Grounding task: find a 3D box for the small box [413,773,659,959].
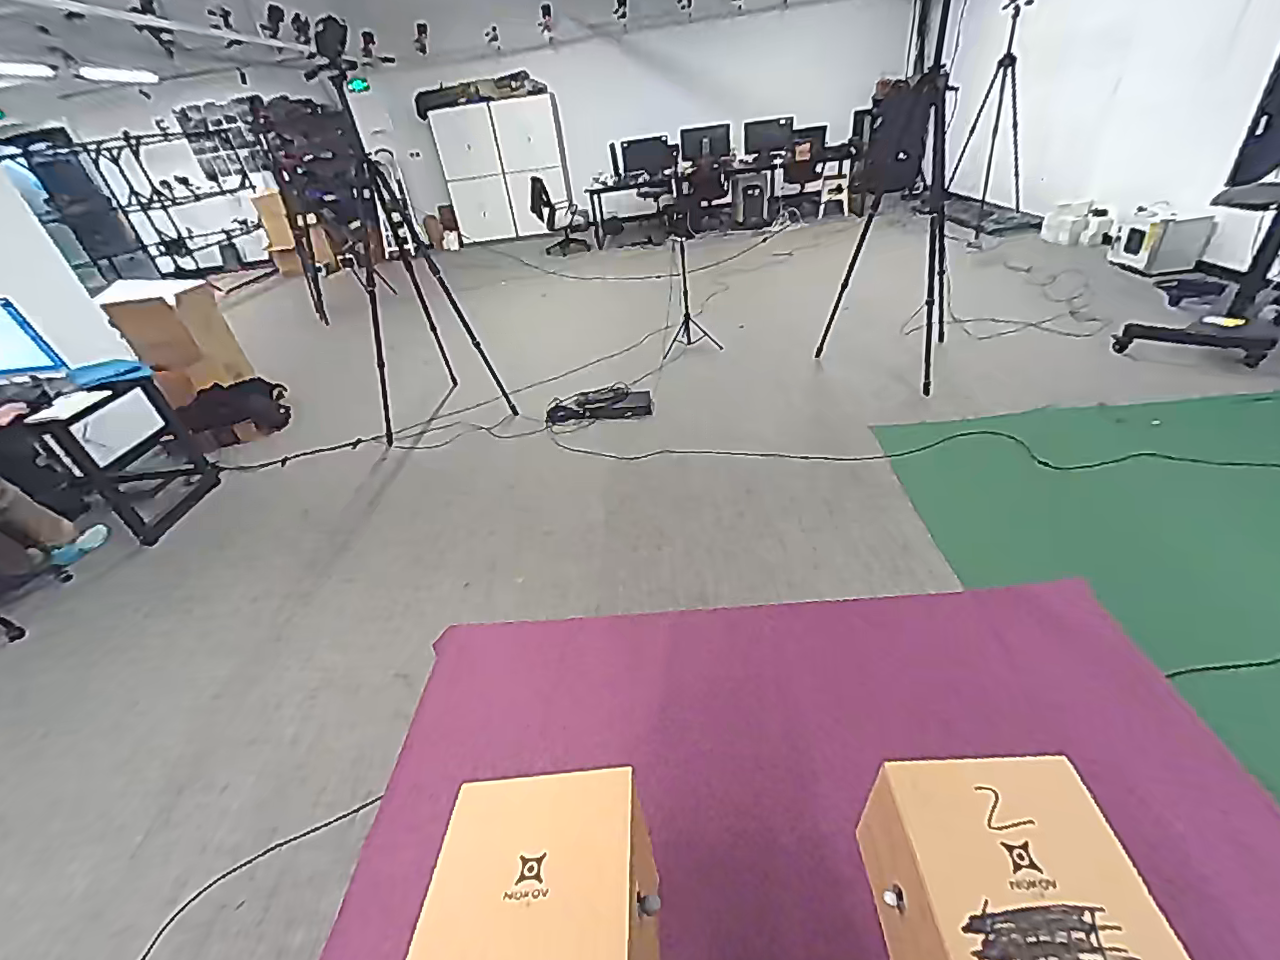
[{"bbox_3d":[-0.076,0.398,0.476,0.168,0.176,0.179,-8,26,4],"label":"small box"}]
